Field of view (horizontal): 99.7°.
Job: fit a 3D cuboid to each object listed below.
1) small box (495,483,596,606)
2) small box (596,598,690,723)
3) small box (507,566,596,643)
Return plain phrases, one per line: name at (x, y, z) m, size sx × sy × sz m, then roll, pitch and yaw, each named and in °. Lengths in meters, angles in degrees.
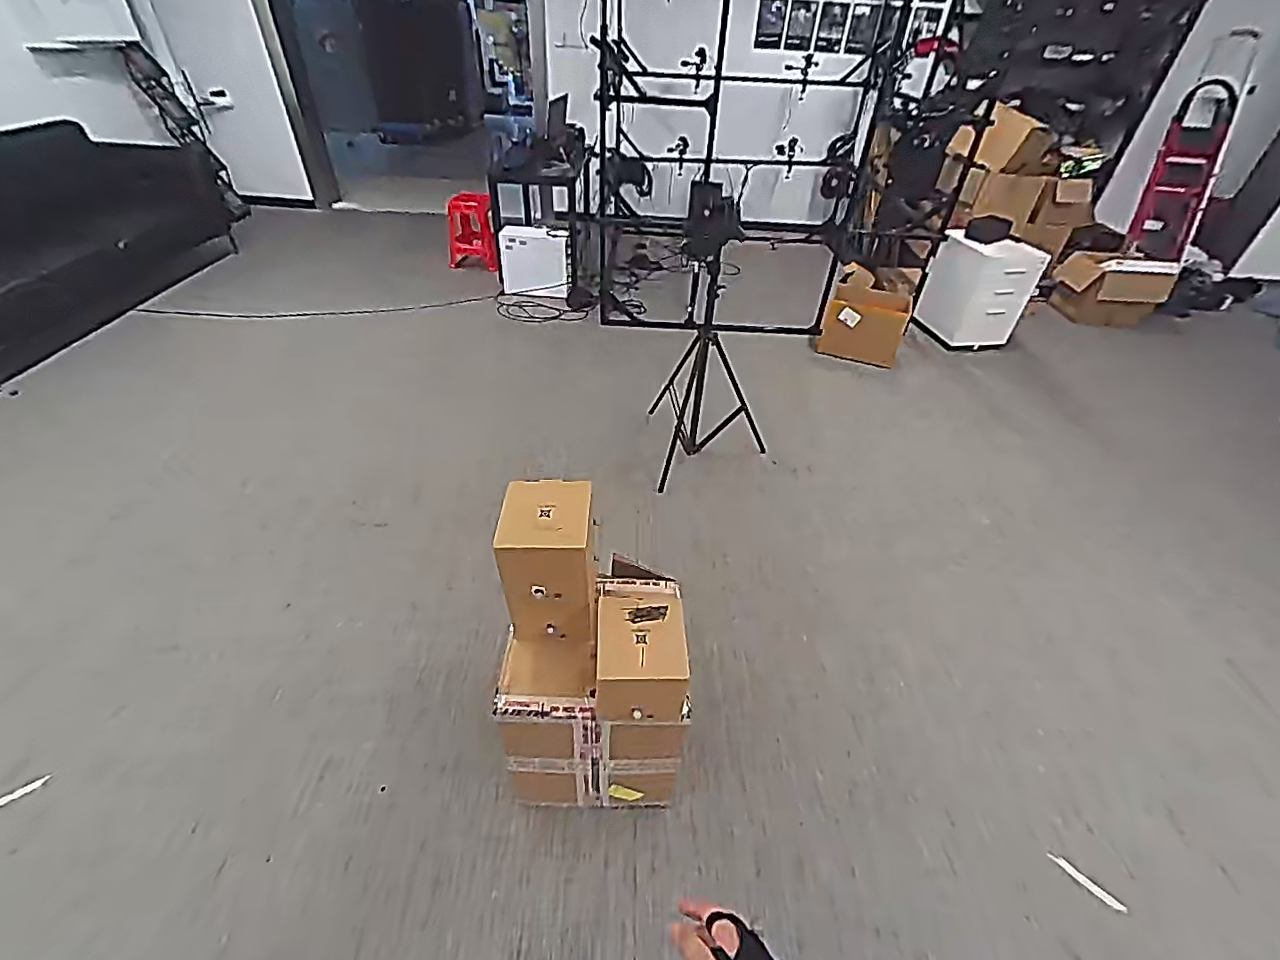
small box at (-0.174, 0.124, 1.052) m, size 0.168 × 0.176 × 0.179 m, roll 0°, pitch 43°, yaw -1°
small box at (0.000, 0.351, 1.053) m, size 0.168 × 0.176 × 0.179 m, roll 1°, pitch 43°, yaw -3°
small box at (-0.184, 0.232, 1.176) m, size 0.168 × 0.176 × 0.179 m, roll 1°, pitch 42°, yaw -1°
